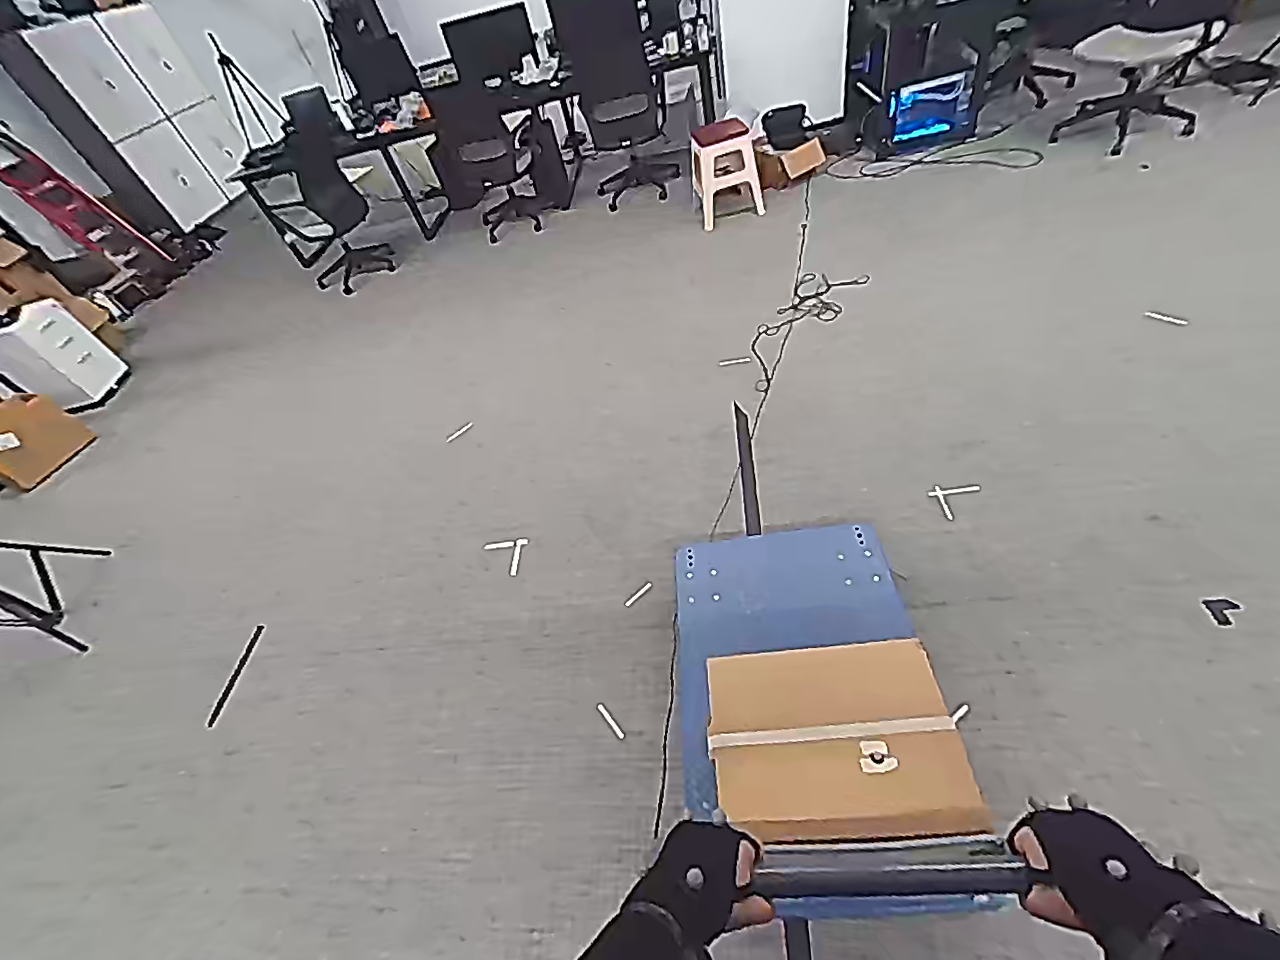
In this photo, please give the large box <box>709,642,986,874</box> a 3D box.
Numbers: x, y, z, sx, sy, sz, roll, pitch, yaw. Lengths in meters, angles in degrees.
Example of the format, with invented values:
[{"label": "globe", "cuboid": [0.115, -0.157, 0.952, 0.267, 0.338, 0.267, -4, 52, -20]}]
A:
[{"label": "large box", "cuboid": [0.363, 0.548, 1.055, 0.408, 0.320, 0.320, -9, 47, 9]}]
